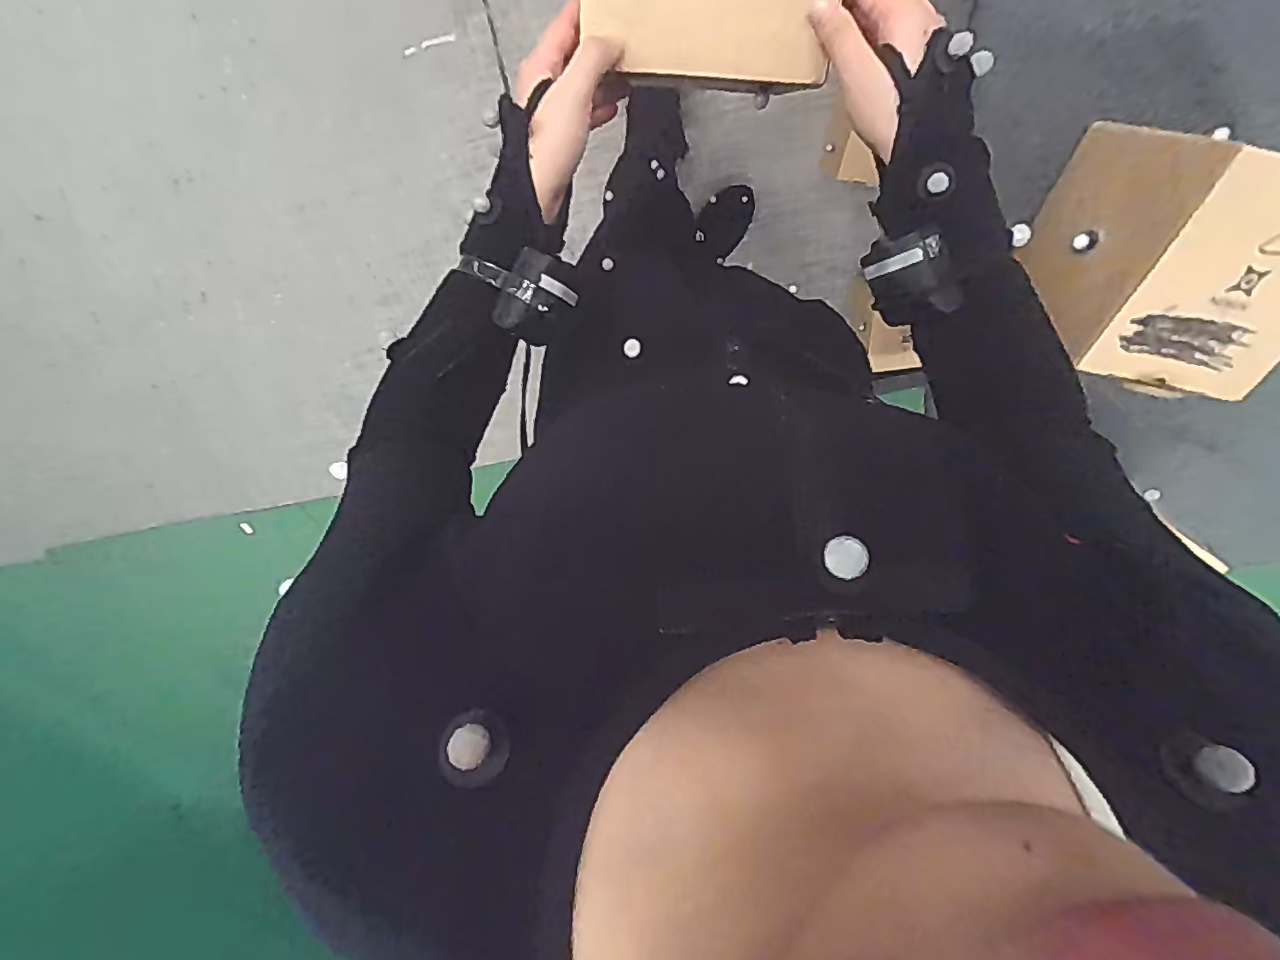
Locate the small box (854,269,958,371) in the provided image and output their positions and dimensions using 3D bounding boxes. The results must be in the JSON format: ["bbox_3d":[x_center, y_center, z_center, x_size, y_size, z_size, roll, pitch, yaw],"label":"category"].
[{"bbox_3d":[0.610,-0.380,1.266,0.168,0.176,0.179,-5,129,9],"label":"small box"}]

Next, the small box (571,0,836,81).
[{"bbox_3d":[0.045,-0.401,0.394,0.179,0.176,0.168,2,123,-1],"label":"small box"}]

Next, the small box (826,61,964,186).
[{"bbox_3d":[0.470,-0.683,1.035,0.168,0.176,0.179,6,127,-1],"label":"small box"}]
